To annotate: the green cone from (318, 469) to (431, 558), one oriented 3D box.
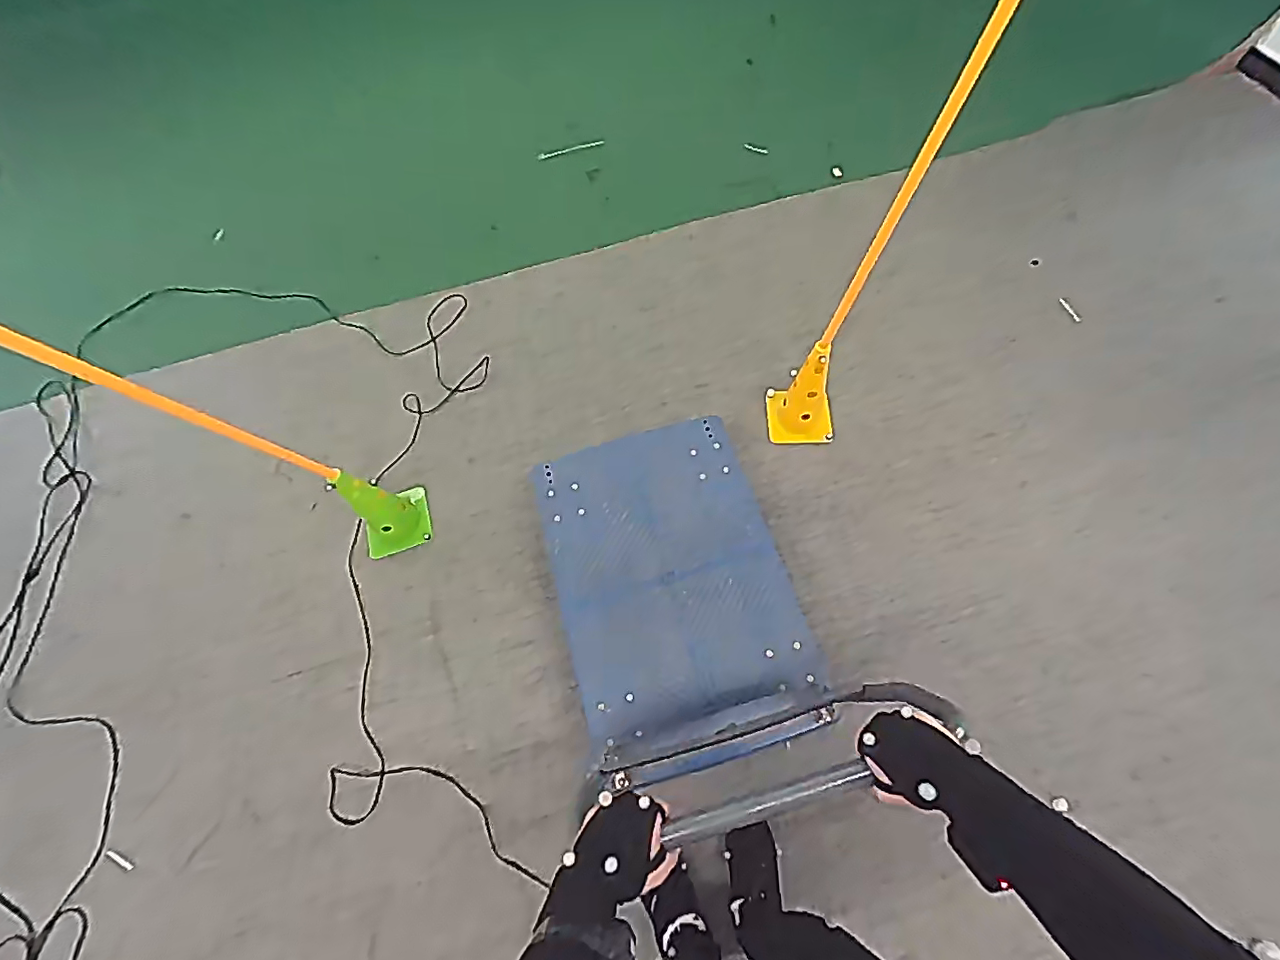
[{"bbox_3d":[-0.786,0.058,1.553,0.202,0.368,0.200,-20,64,-3],"label":"green cone"}]
